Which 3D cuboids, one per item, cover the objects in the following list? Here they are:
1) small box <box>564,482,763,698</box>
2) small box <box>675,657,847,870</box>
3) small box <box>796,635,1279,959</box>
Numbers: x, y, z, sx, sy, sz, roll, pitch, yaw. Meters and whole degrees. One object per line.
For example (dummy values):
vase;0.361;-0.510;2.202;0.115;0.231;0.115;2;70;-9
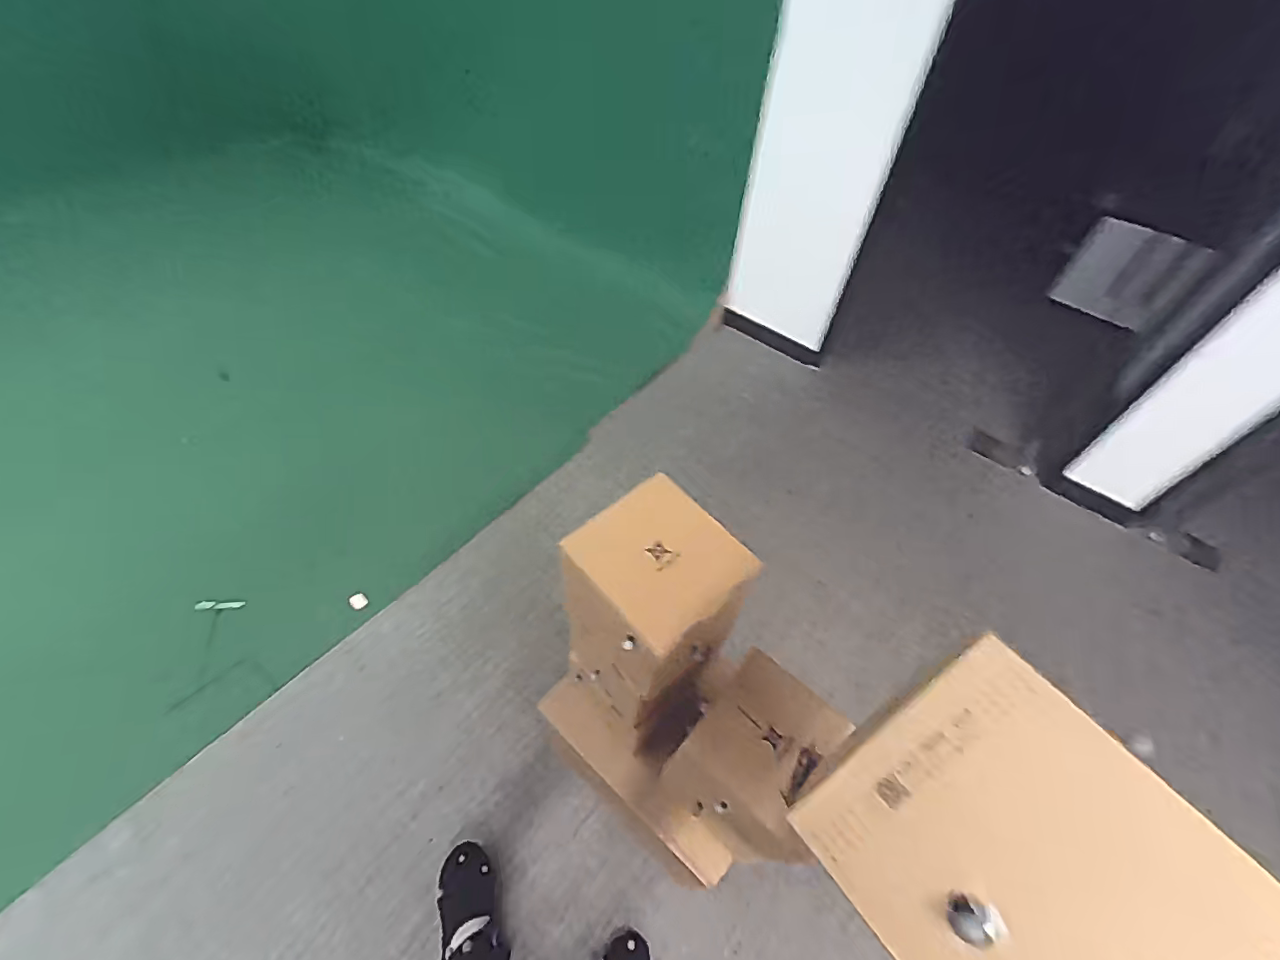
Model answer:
small box;0.021;0.142;0.685;0.168;0.176;0.179;-35;63;-26
small box;0.164;0.376;0.718;0.179;0.176;0.168;36;59;23
small box;0.222;0.218;0.351;0.168;0.179;0.176;-46;64;7
